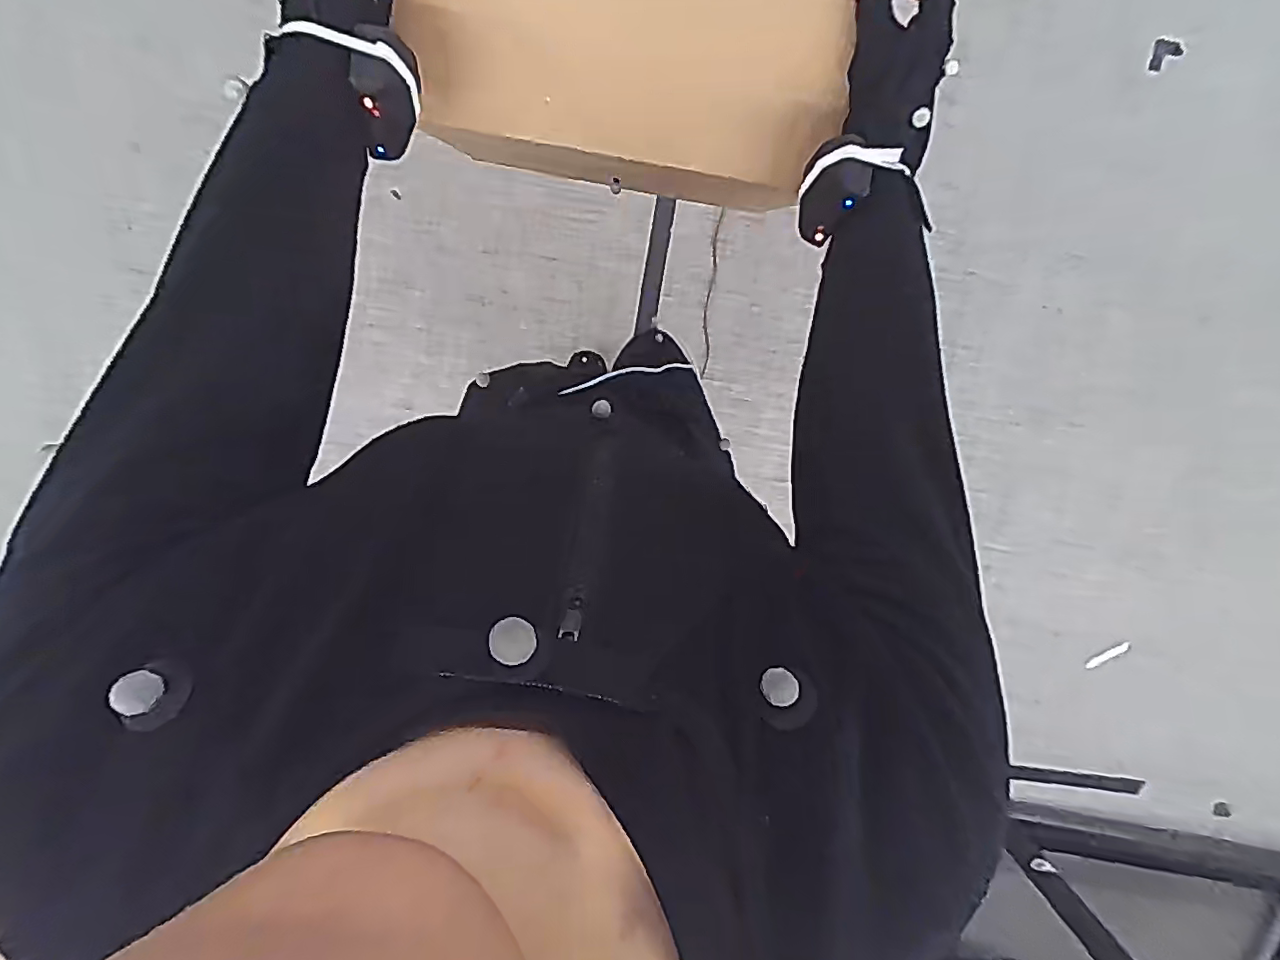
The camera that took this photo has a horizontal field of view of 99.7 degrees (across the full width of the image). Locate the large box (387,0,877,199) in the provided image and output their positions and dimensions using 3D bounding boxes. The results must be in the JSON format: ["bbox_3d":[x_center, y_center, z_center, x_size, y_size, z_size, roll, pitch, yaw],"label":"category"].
[{"bbox_3d":[0.002,-0.496,0.557,0.408,0.320,0.320,8,113,-4],"label":"large box"}]
